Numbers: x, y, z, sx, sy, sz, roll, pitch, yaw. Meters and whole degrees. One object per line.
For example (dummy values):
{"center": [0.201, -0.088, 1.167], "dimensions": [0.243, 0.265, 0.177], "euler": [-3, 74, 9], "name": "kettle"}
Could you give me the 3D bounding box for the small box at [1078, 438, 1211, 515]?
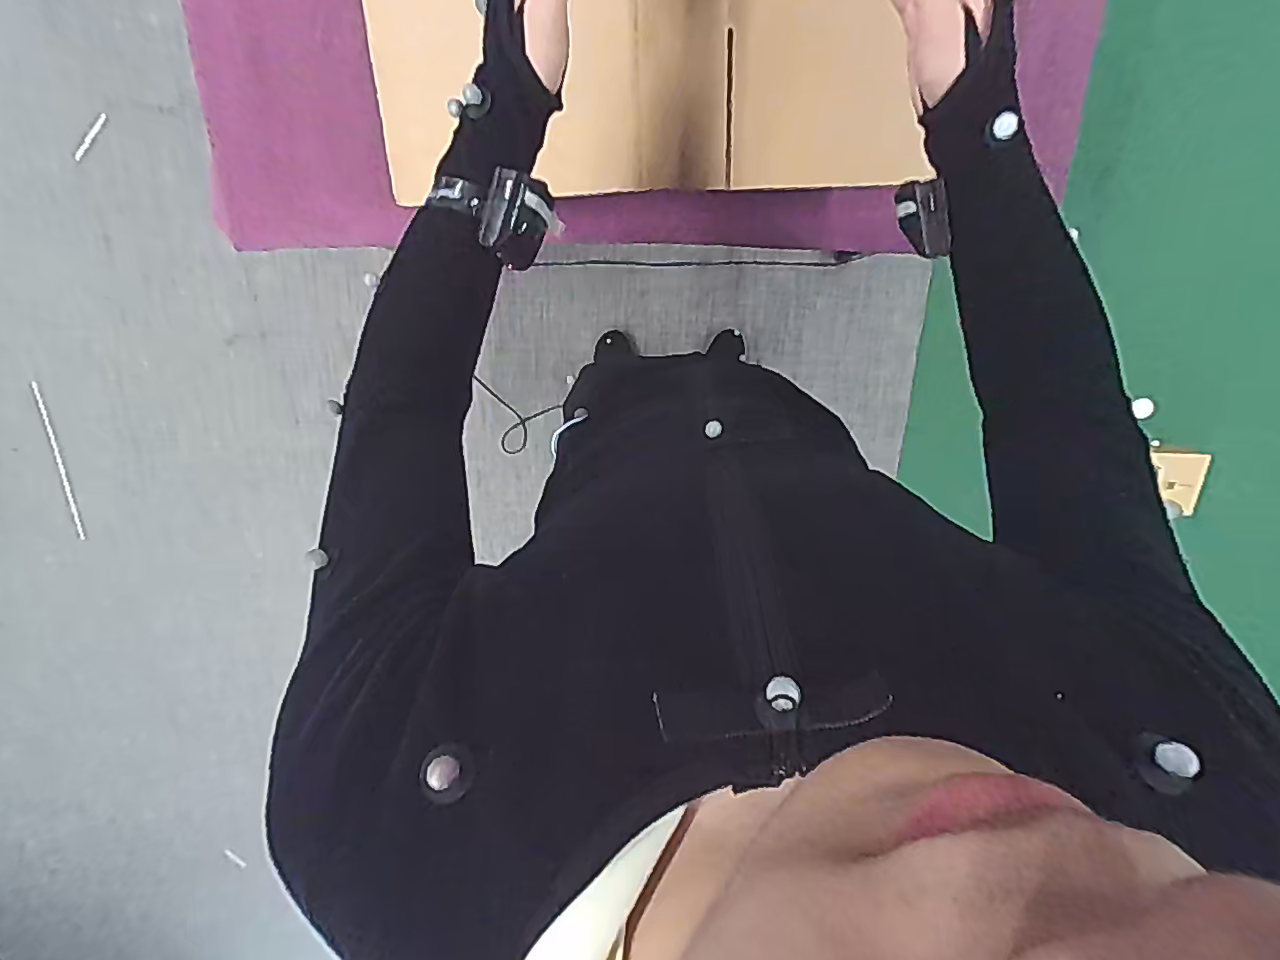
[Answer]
{"center": [1.322, -0.013, 1.432], "dimensions": [0.179, 0.176, 0.168], "euler": [1, 106, -3], "name": "small box"}
